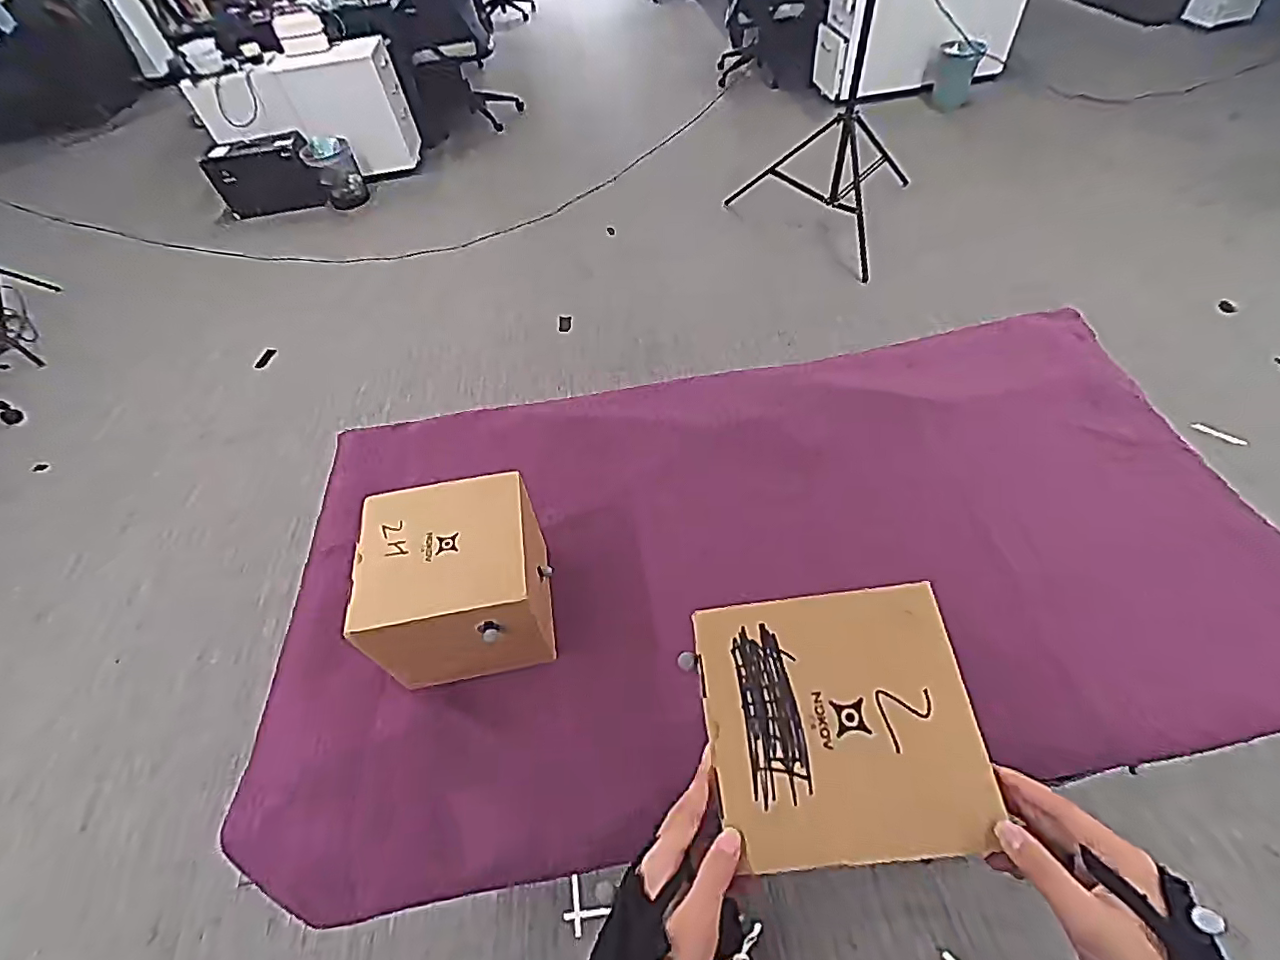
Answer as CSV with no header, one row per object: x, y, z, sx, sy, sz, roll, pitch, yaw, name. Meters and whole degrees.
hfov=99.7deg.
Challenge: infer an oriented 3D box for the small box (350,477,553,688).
-0.200,0.122,0.628,0.179,0.176,0.168,-10,51,-4,small box
